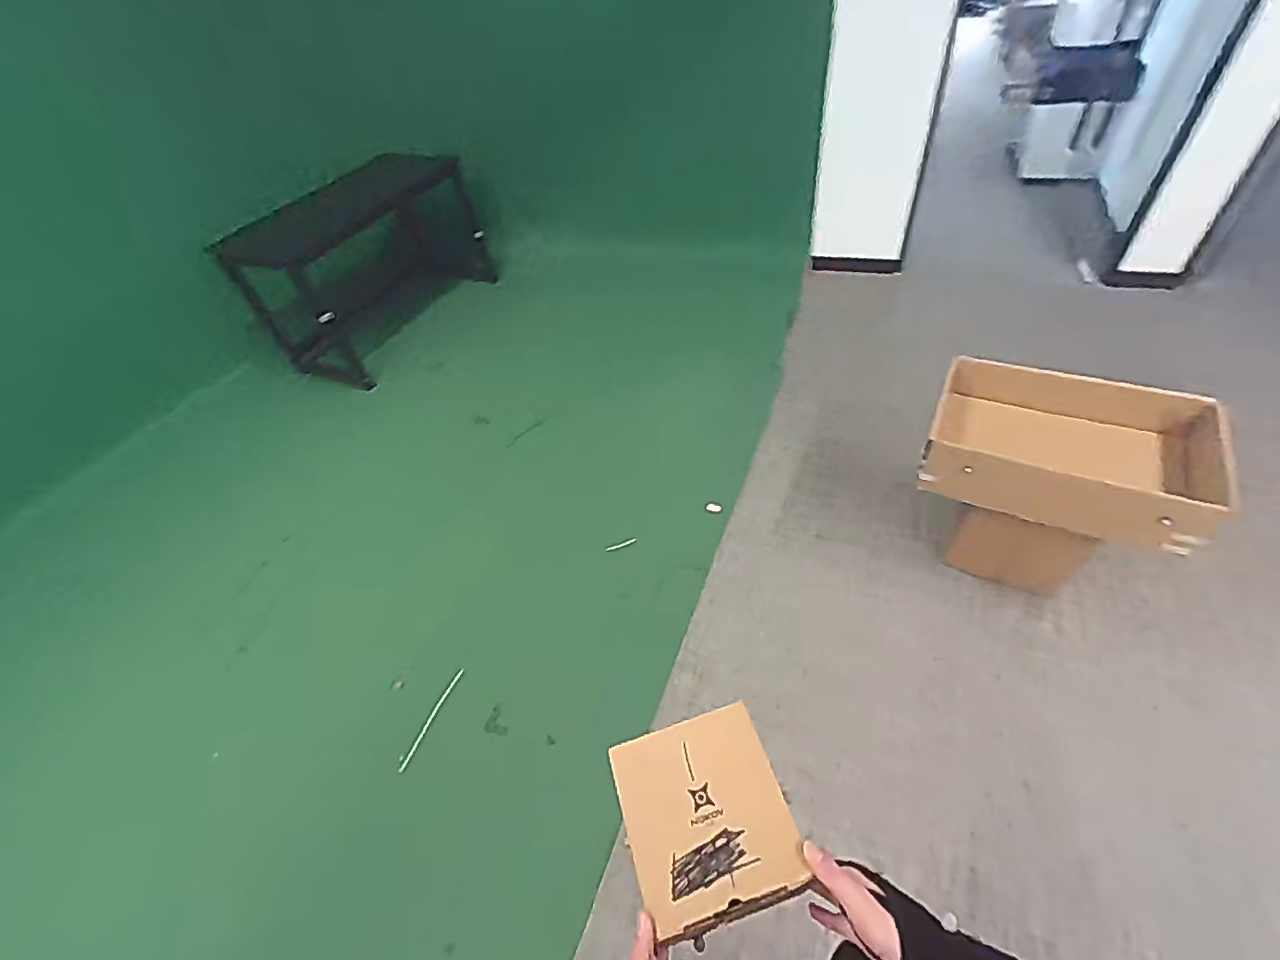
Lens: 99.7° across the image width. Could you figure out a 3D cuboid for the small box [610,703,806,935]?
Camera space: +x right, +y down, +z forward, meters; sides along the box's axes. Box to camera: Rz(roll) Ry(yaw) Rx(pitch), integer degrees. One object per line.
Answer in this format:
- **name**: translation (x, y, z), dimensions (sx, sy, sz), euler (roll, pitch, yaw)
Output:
- **small box**: translation (0.077, 0.393, 0.627), dimensions (0.168, 0.176, 0.179), euler (-18, 48, -3)
